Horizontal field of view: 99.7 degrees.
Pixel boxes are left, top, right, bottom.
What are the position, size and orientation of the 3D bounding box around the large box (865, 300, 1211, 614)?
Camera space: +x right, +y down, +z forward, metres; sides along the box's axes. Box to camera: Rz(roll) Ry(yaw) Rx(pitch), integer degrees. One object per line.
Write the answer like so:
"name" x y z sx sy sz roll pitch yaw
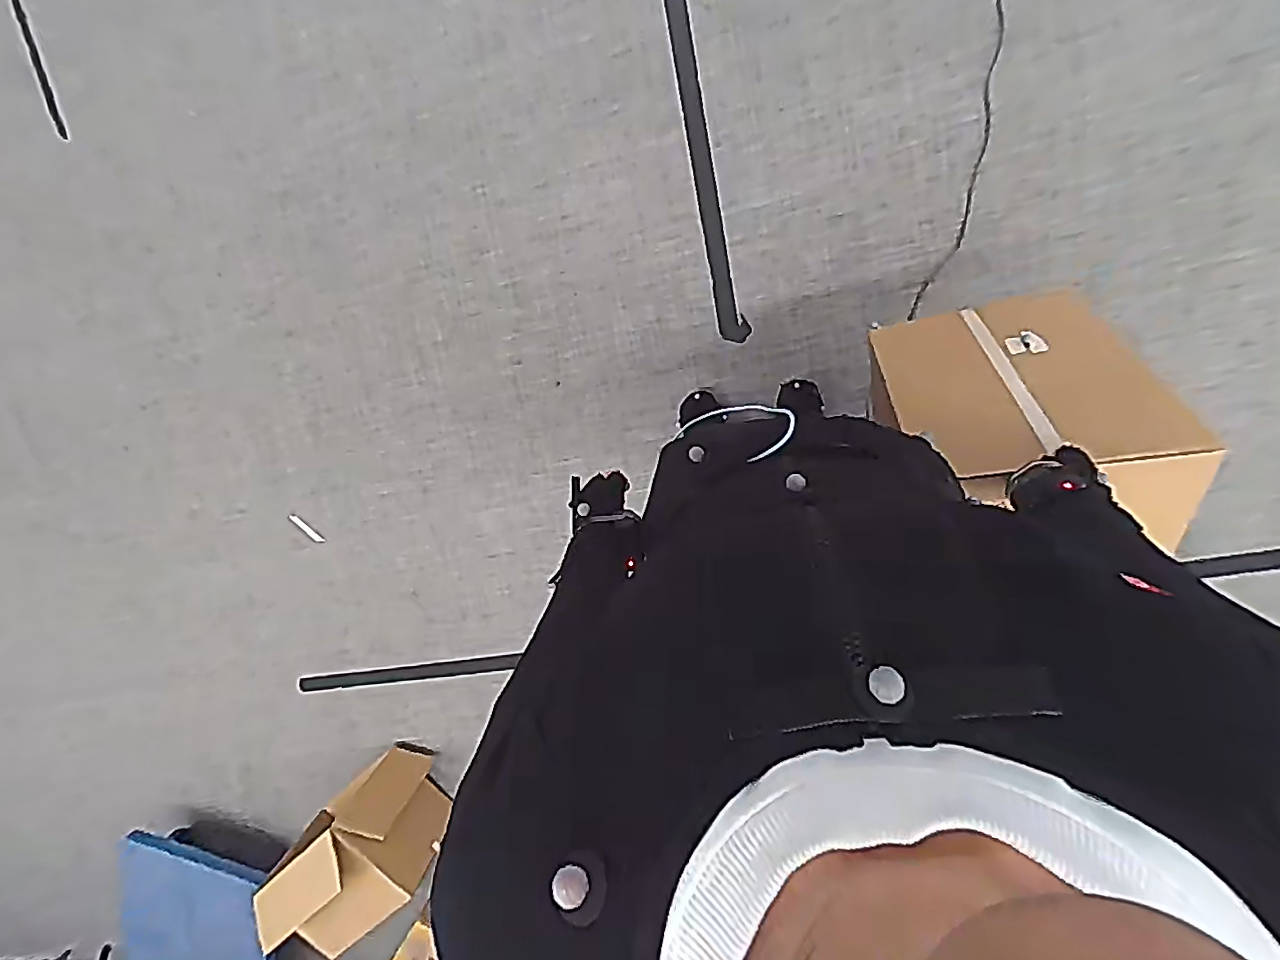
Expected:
"large box" 0.577 -0.039 0.894 0.320 0.408 0.320 -7 130 16
